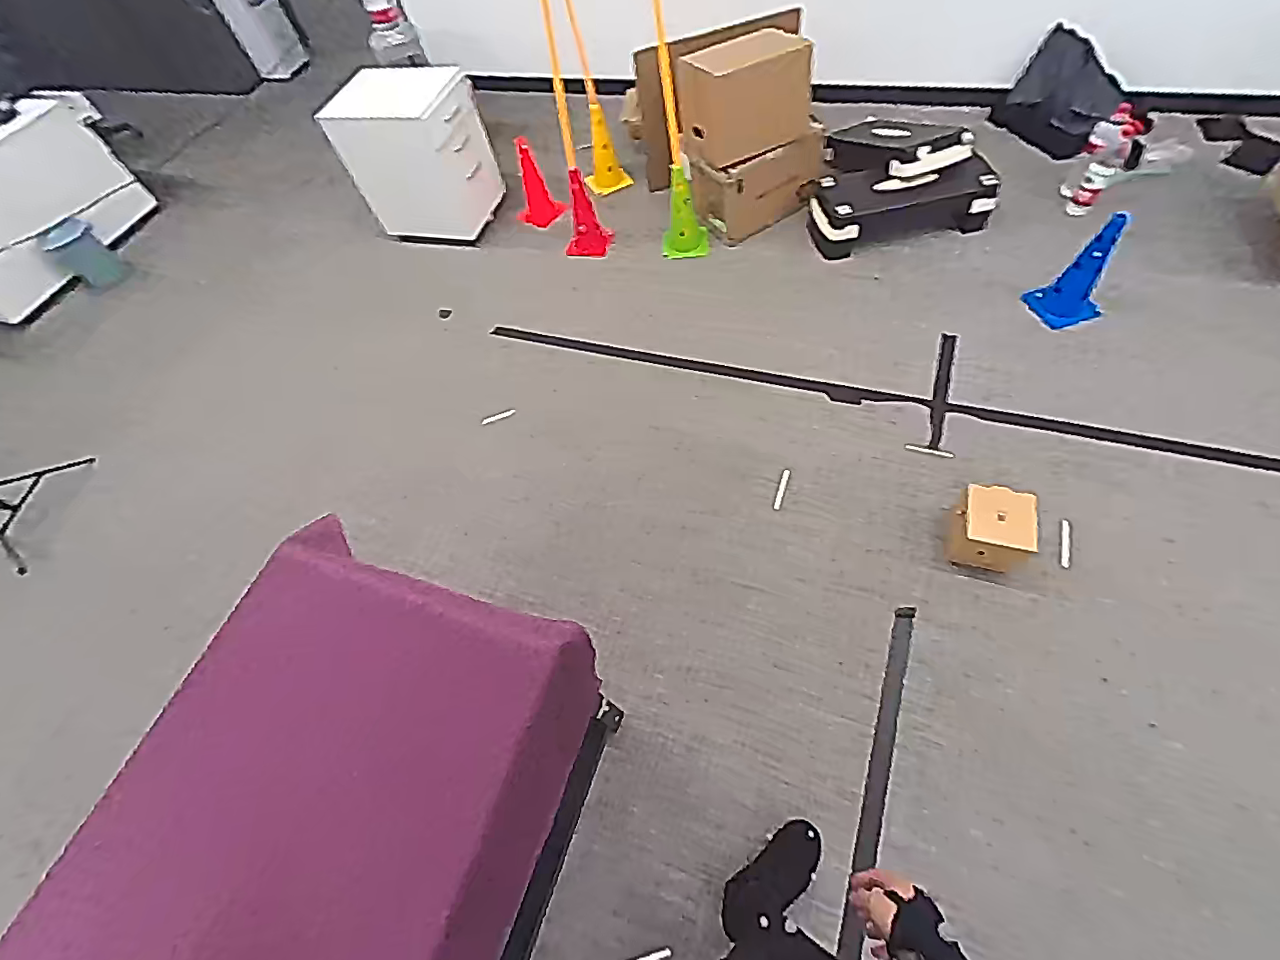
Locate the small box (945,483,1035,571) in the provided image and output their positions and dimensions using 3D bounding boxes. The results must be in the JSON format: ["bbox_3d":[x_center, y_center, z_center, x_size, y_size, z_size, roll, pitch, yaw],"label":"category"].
[{"bbox_3d":[0.972,0.135,1.510,0.168,0.176,0.179,11,62,15],"label":"small box"}]
